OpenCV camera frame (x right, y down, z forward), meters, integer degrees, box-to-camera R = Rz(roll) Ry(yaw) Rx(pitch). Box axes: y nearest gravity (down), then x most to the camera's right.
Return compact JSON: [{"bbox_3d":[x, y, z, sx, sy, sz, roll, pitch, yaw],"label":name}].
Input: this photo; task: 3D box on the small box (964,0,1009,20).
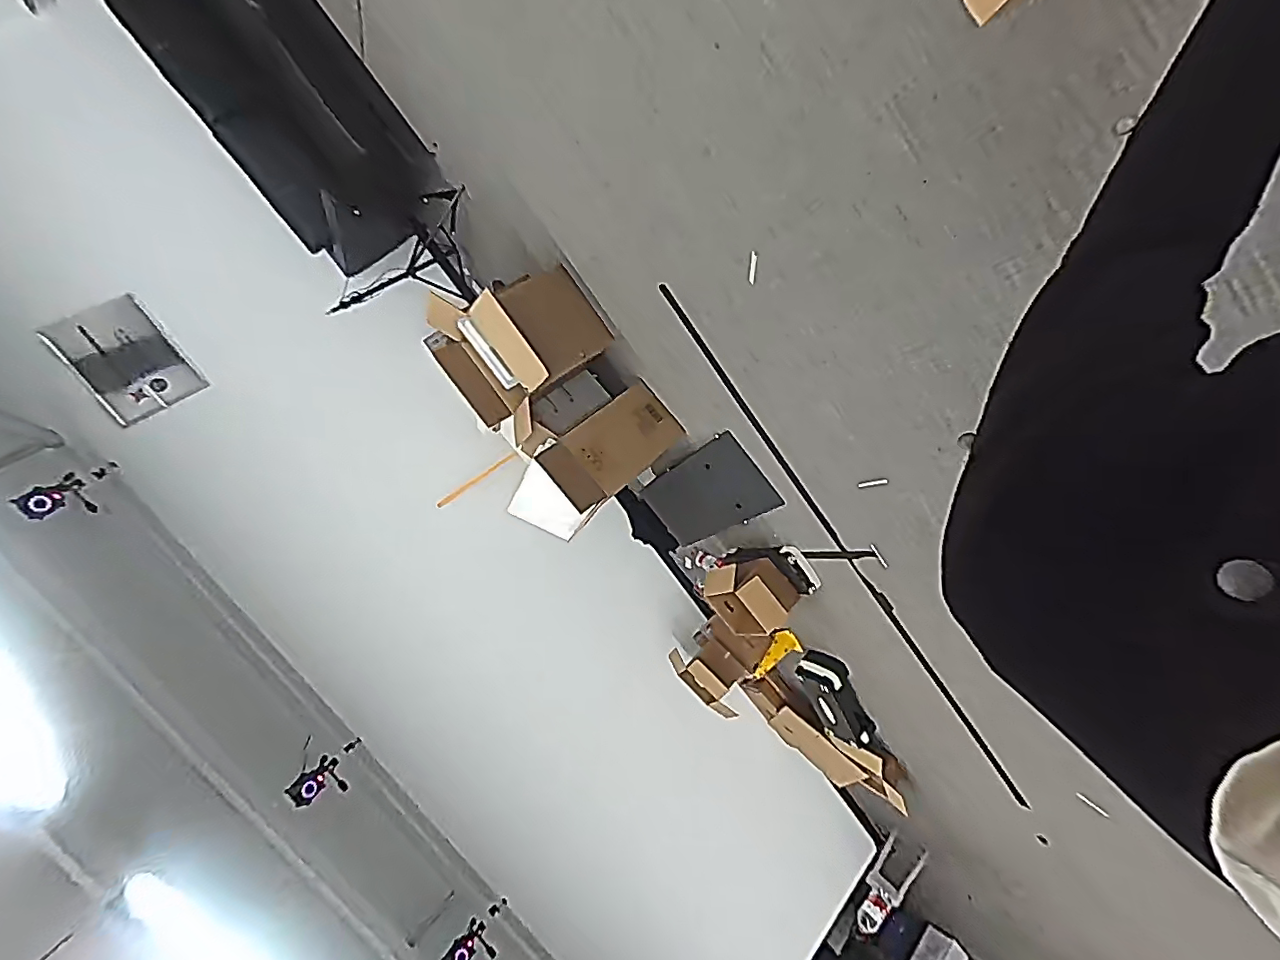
[{"bbox_3d":[0.557,-0.831,0.777,0.179,0.176,0.168,52,158,-7],"label":"small box"}]
